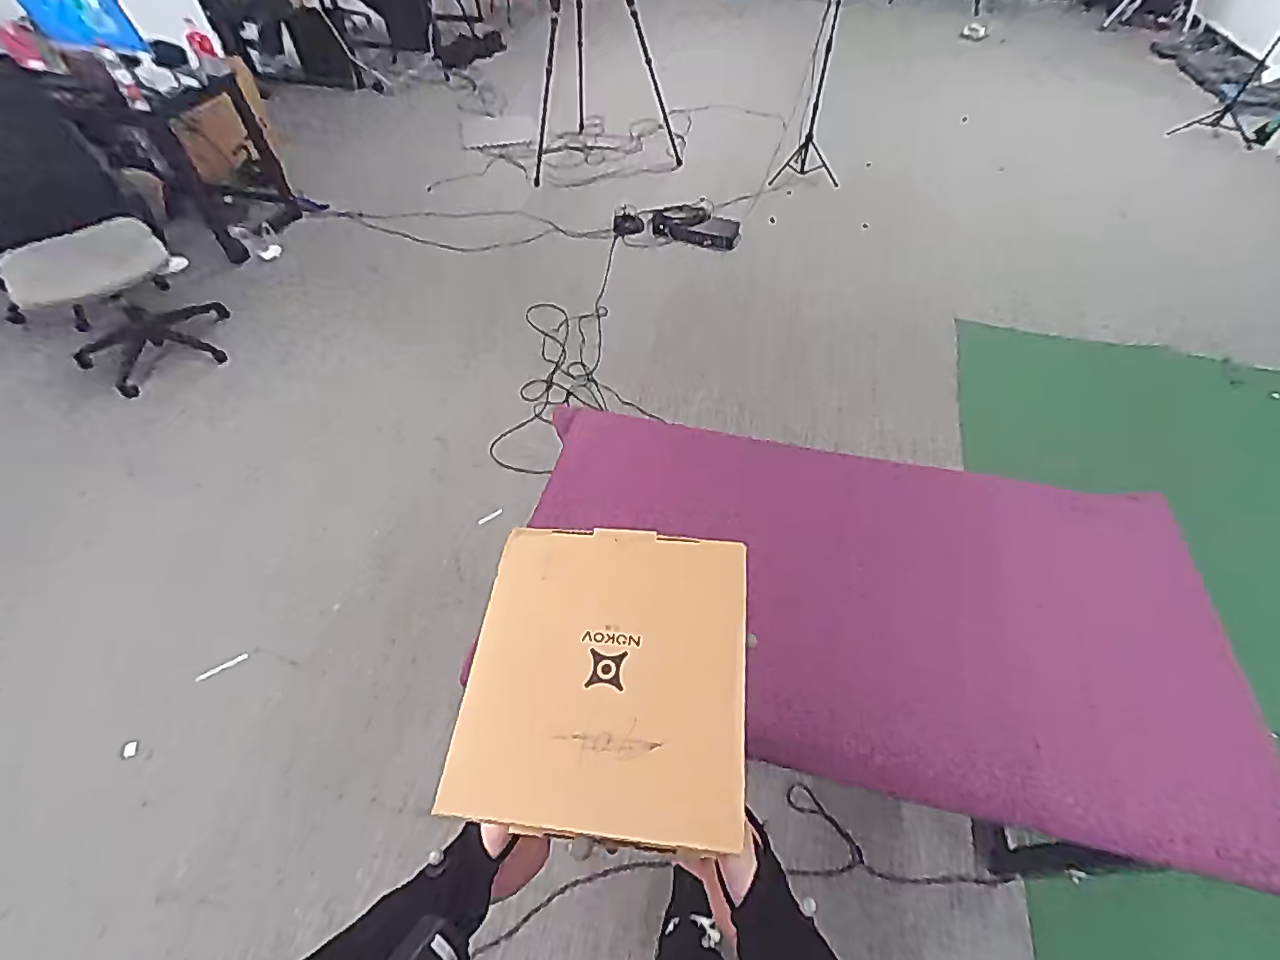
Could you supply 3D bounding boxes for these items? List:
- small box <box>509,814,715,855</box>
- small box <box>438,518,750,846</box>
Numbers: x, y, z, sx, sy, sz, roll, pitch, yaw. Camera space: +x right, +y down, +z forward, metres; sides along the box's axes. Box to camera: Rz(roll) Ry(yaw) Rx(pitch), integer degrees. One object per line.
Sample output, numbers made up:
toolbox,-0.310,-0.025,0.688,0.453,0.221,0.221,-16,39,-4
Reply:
small box,-0.007,0.245,0.521,0.168,0.176,0.179,3,56,7
small box,-0.014,0.148,0.390,0.168,0.176,0.179,3,57,7
